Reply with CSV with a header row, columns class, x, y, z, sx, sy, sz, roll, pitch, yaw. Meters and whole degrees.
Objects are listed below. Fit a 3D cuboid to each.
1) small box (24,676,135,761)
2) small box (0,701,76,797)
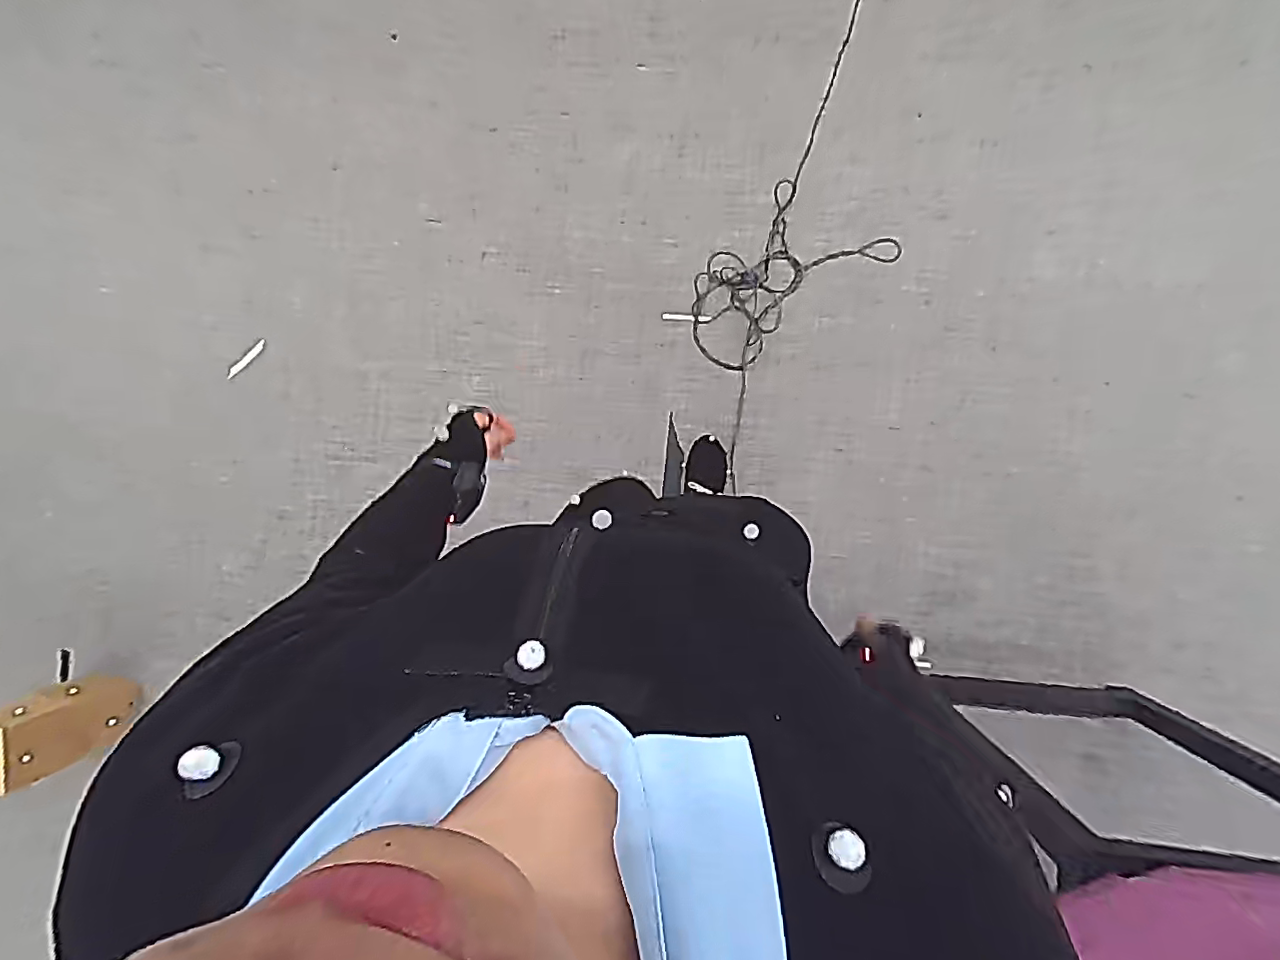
class,x,y,z,sx,sy,sz,roll,pitch,yaw
small box,-1.651,0.697,1.595,0.179,0.176,0.168,8,91,7
small box,-1.659,0.704,1.432,0.168,0.176,0.179,-1,91,6
